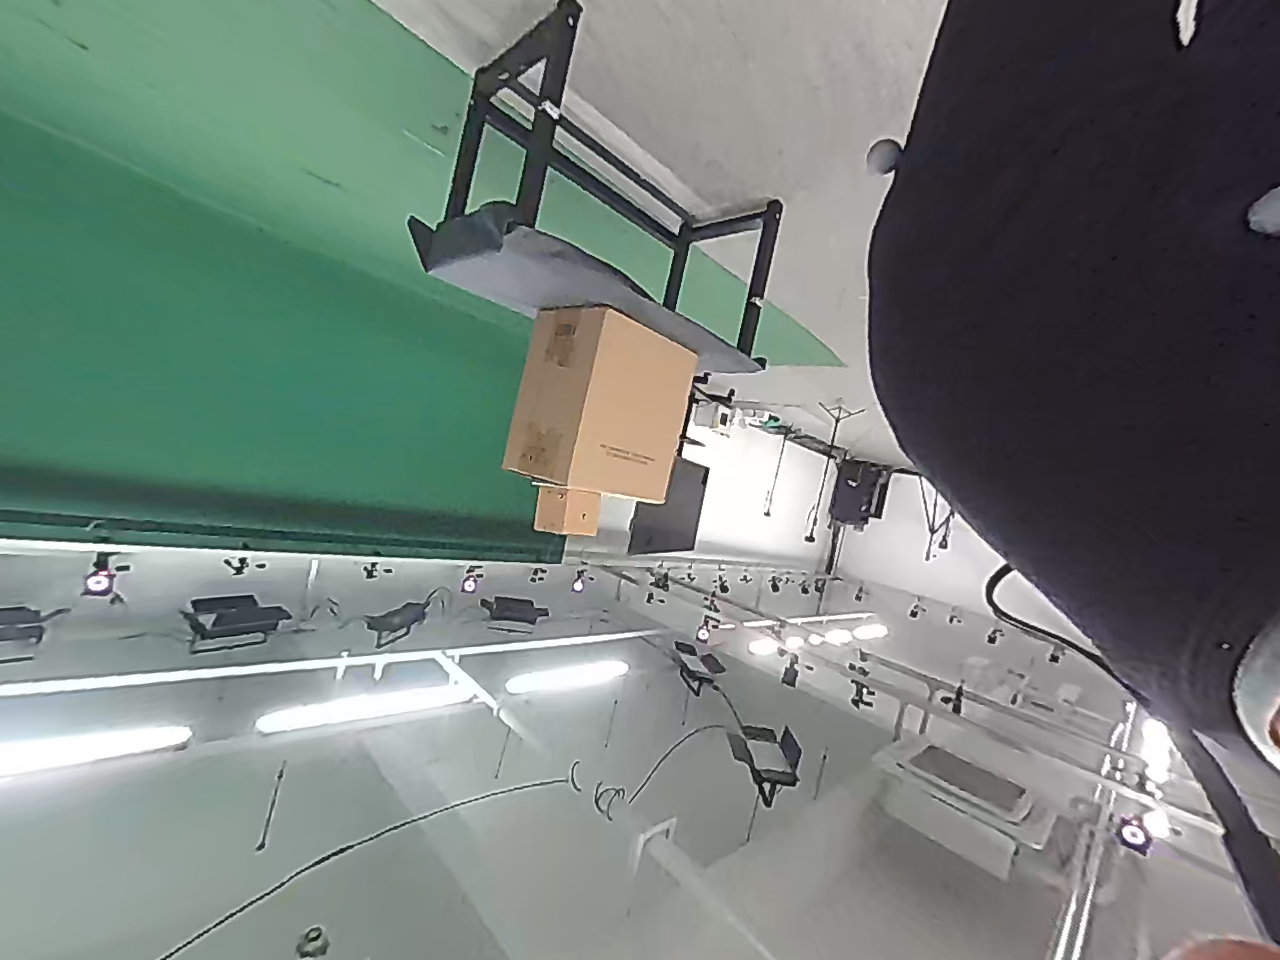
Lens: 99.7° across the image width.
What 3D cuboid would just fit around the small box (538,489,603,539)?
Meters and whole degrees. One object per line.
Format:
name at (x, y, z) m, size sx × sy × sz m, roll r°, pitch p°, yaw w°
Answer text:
small box at (-0.262, 0.128, 2.063) m, size 0.168 × 0.176 × 0.179 m, roll 5°, pitch 175°, yaw 41°
